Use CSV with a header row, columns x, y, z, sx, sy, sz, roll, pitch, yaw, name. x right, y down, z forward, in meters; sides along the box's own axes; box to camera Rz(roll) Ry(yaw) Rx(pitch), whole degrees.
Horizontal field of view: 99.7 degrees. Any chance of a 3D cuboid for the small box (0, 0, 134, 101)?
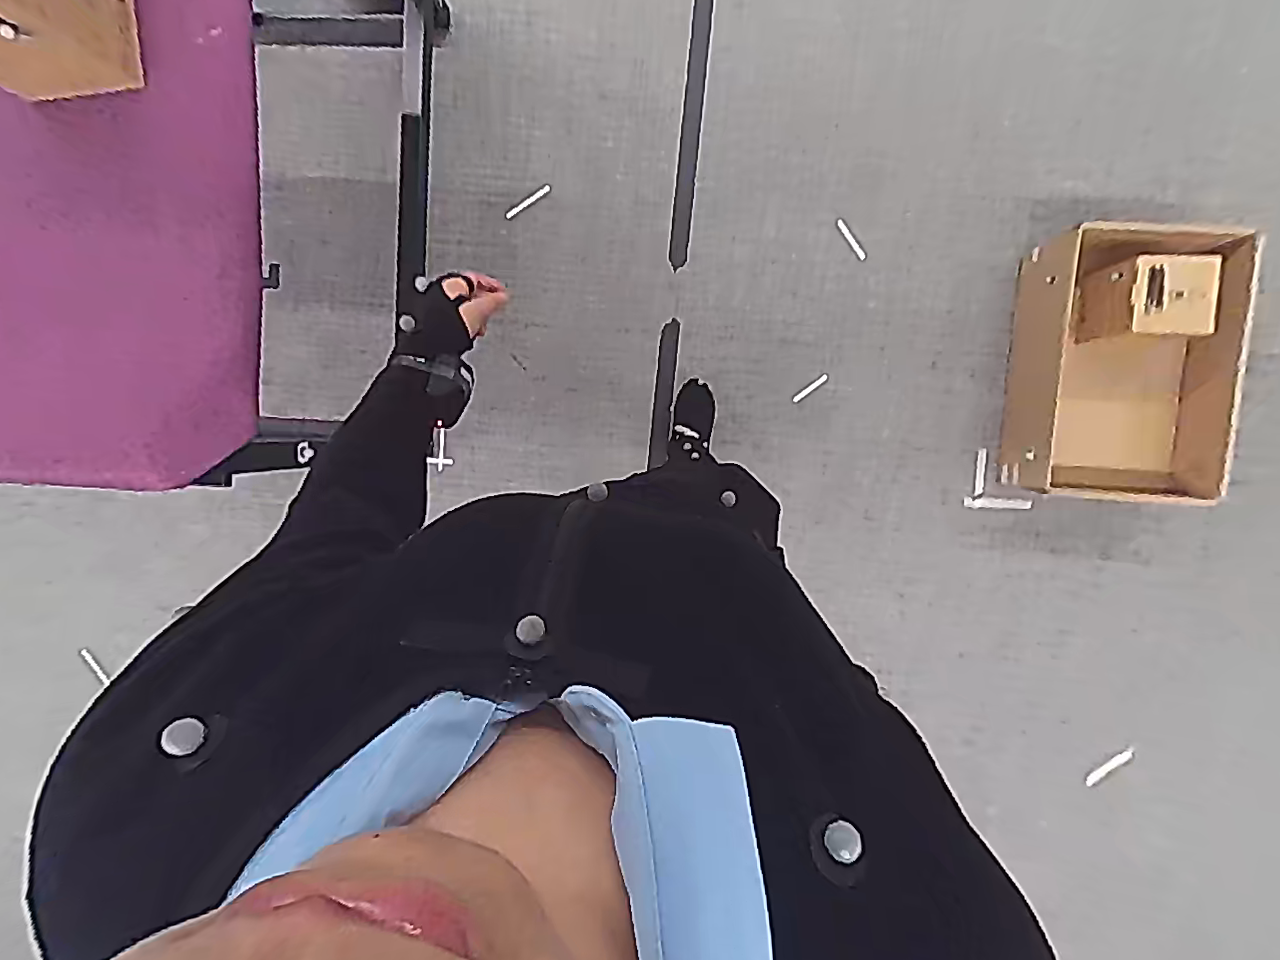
x,y,z,sx,sy,sz,roll,pitch,yaw,name
-0.778,-0.608,0.666,0.179,0.176,0.168,-4,93,4,small box
